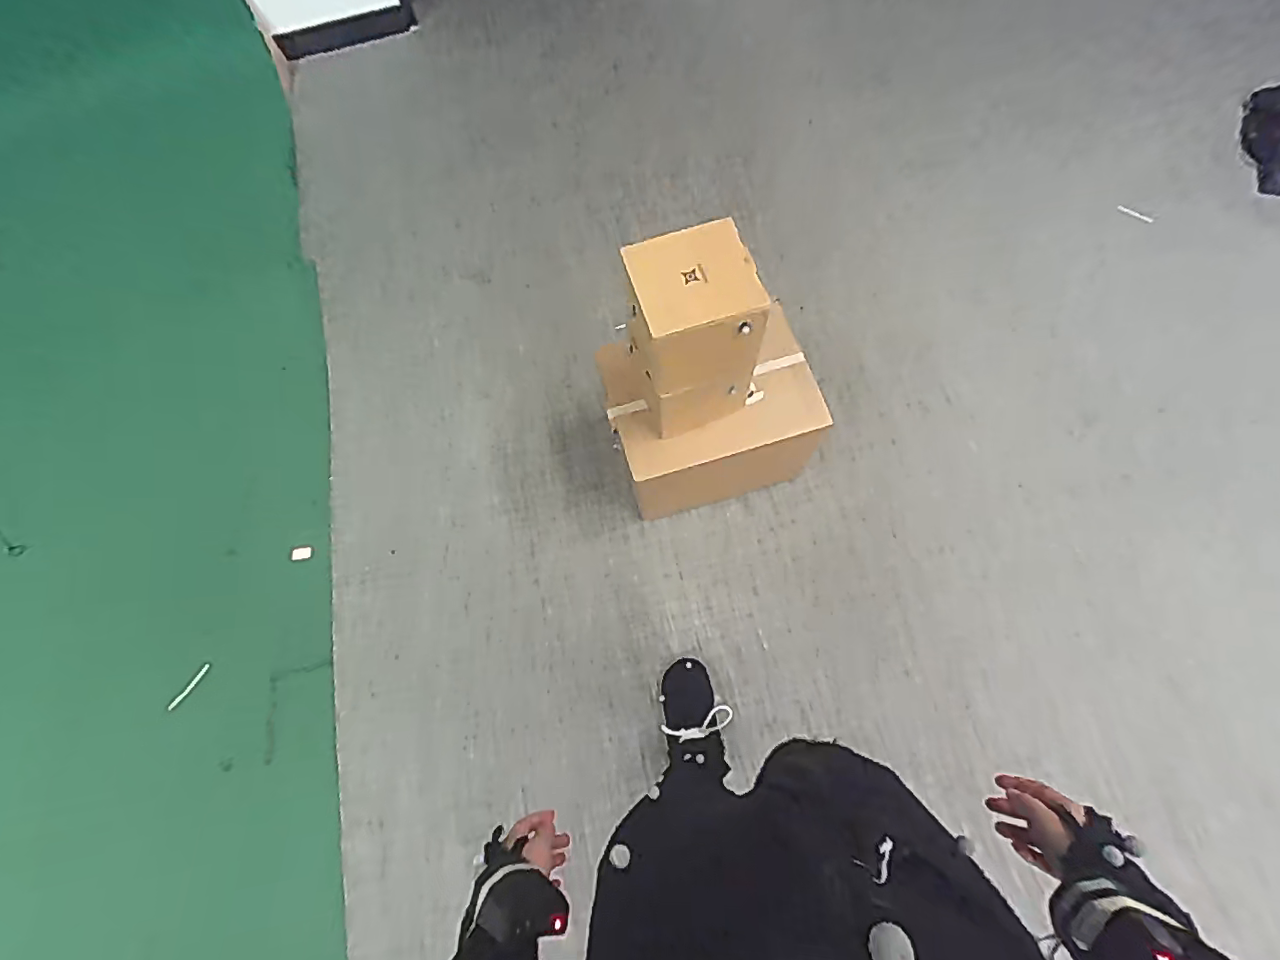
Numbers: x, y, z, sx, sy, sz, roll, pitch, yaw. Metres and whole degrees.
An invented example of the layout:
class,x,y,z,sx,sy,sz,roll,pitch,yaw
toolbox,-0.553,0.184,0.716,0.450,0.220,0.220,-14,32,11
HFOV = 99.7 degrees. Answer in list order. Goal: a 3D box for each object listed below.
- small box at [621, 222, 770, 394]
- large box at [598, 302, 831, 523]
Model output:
class,x,y,z,sx,sy,sz,roll,pitch,yaw
small box,0.082,-0.257,0.843,0.179,0.176,0.168,-17,71,-3
large box,0.149,-0.135,1.228,0.408,0.320,0.320,-17,72,-3
